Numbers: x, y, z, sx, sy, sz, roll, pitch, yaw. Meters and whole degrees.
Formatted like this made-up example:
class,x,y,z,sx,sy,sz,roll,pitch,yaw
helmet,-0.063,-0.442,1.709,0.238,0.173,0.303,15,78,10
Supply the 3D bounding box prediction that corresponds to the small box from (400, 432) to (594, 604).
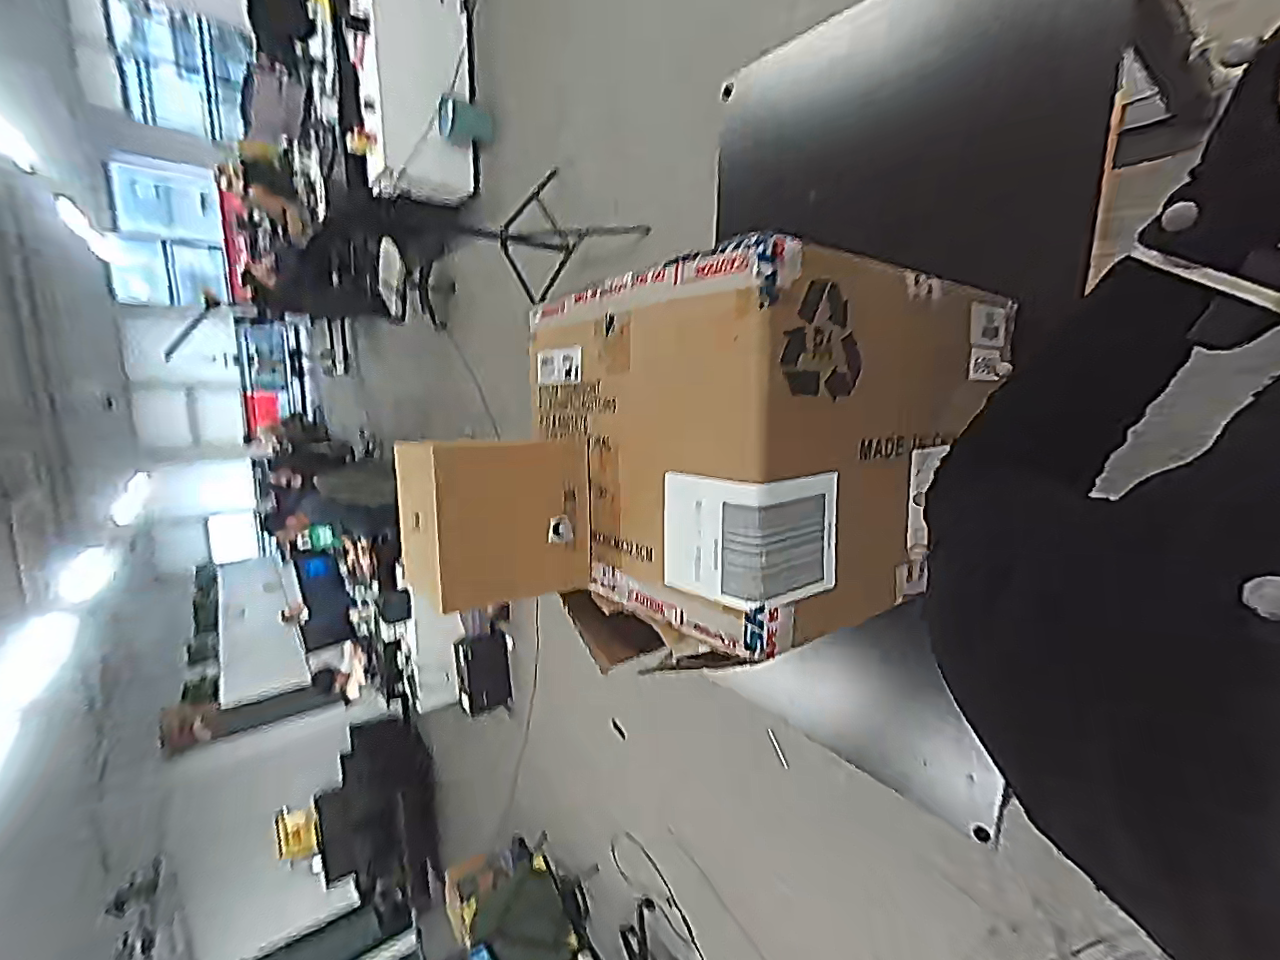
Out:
class,x,y,z,sx,sy,sz,roll,pitch,yaw
small box,-0.168,0.030,0.629,0.179,0.176,0.168,4,98,54
